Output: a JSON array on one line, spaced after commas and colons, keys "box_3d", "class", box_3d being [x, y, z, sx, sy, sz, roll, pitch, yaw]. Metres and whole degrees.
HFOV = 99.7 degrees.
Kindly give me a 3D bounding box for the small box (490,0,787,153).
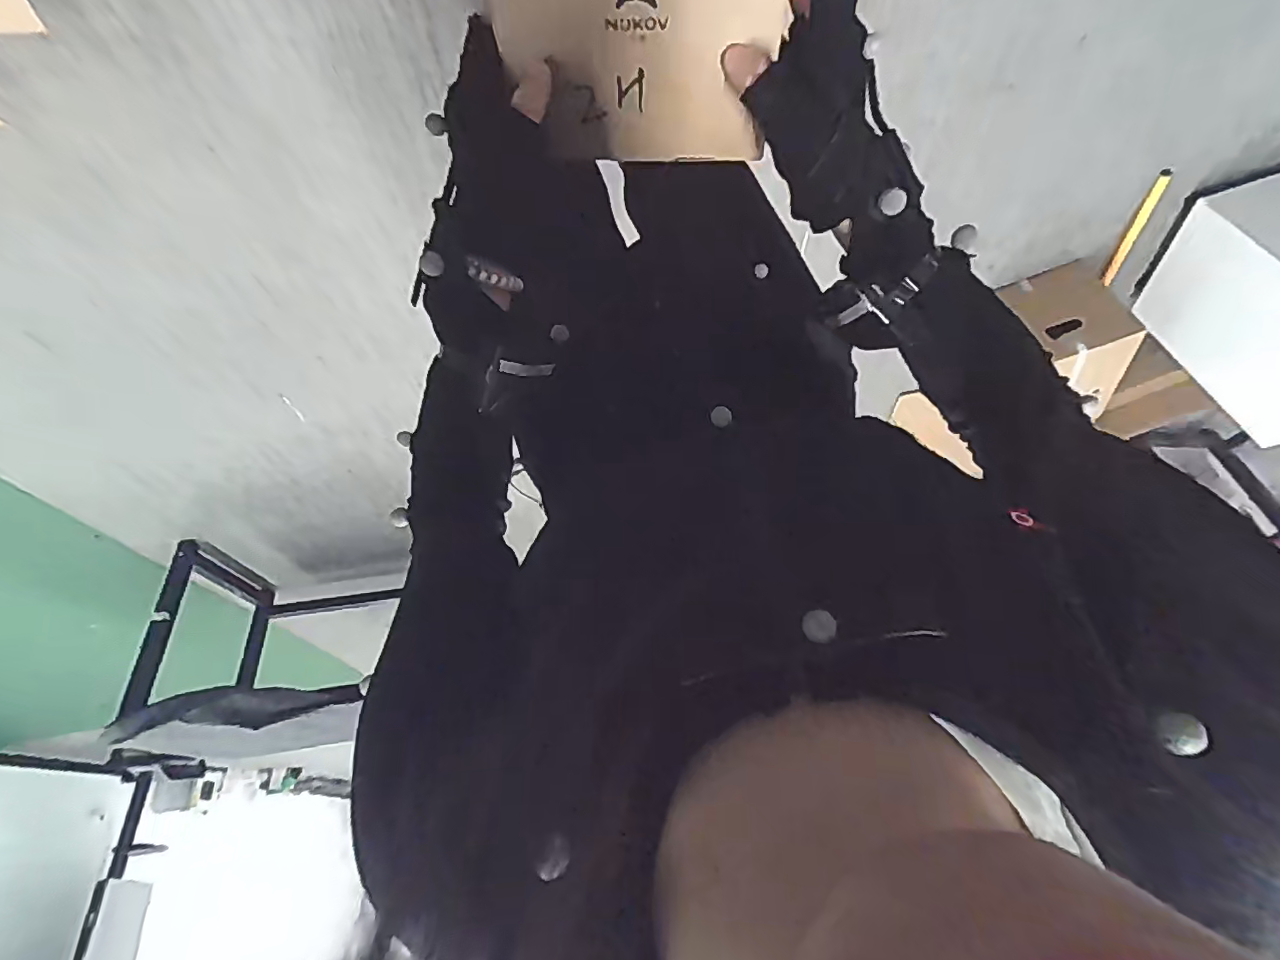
[{"box_3d": [0.004, -0.334, 0.329, 0.168, 0.176, 0.179, 4, 151, 5], "class": "small box"}]
